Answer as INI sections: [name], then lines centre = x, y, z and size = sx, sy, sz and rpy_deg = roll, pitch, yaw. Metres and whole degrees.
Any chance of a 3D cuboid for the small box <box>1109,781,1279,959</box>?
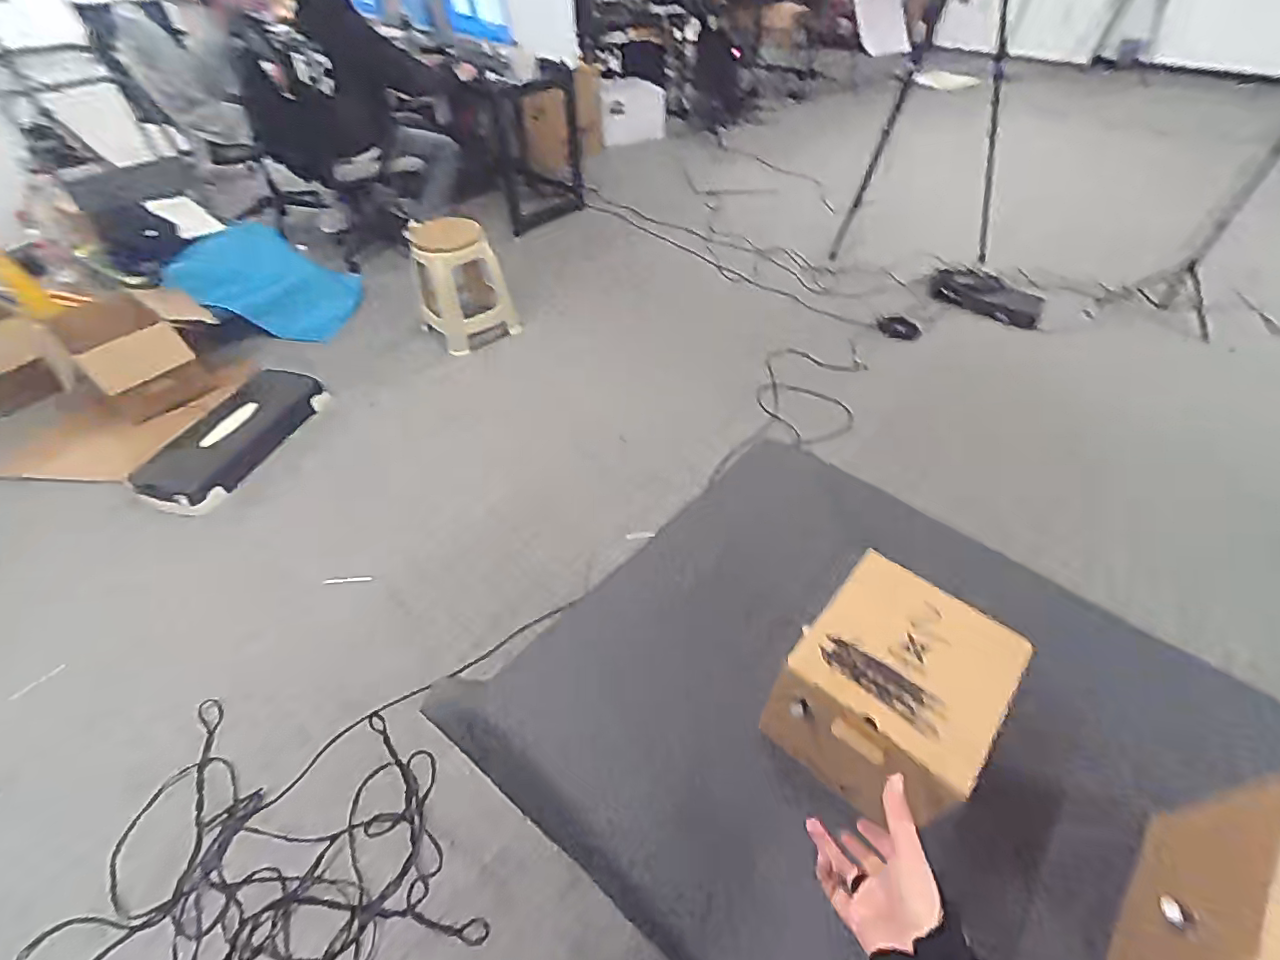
[small box]
centre = 0.514, 0.380, 0.412
size = 0.179, 0.176, 0.168
rpy_deg = -35, 57, -30
